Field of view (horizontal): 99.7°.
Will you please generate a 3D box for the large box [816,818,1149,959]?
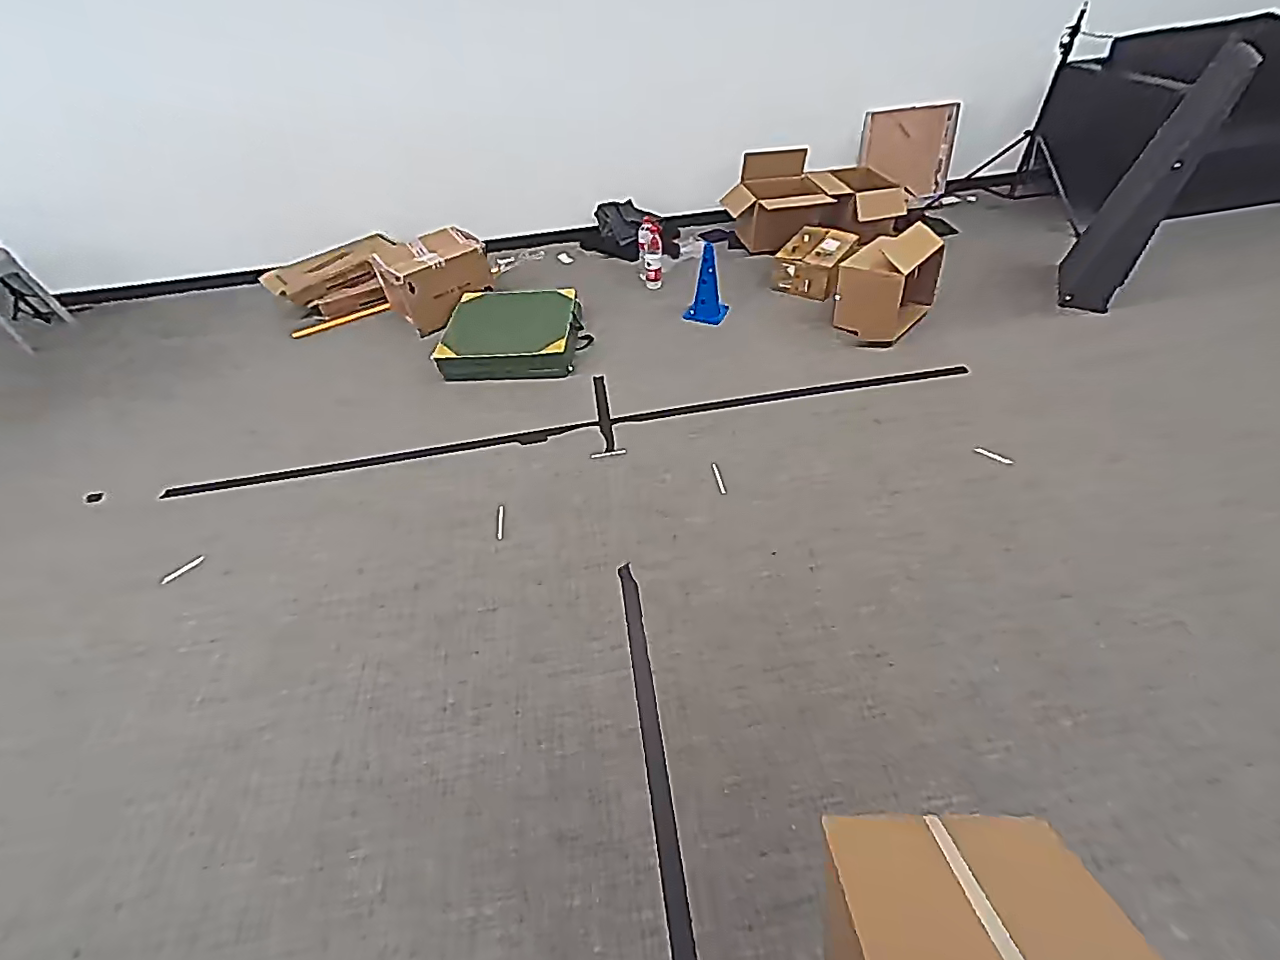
[{"bbox_3d":[0.404,0.671,0.609,0.320,0.320,0.408,-4,9,6],"label":"large box"}]
